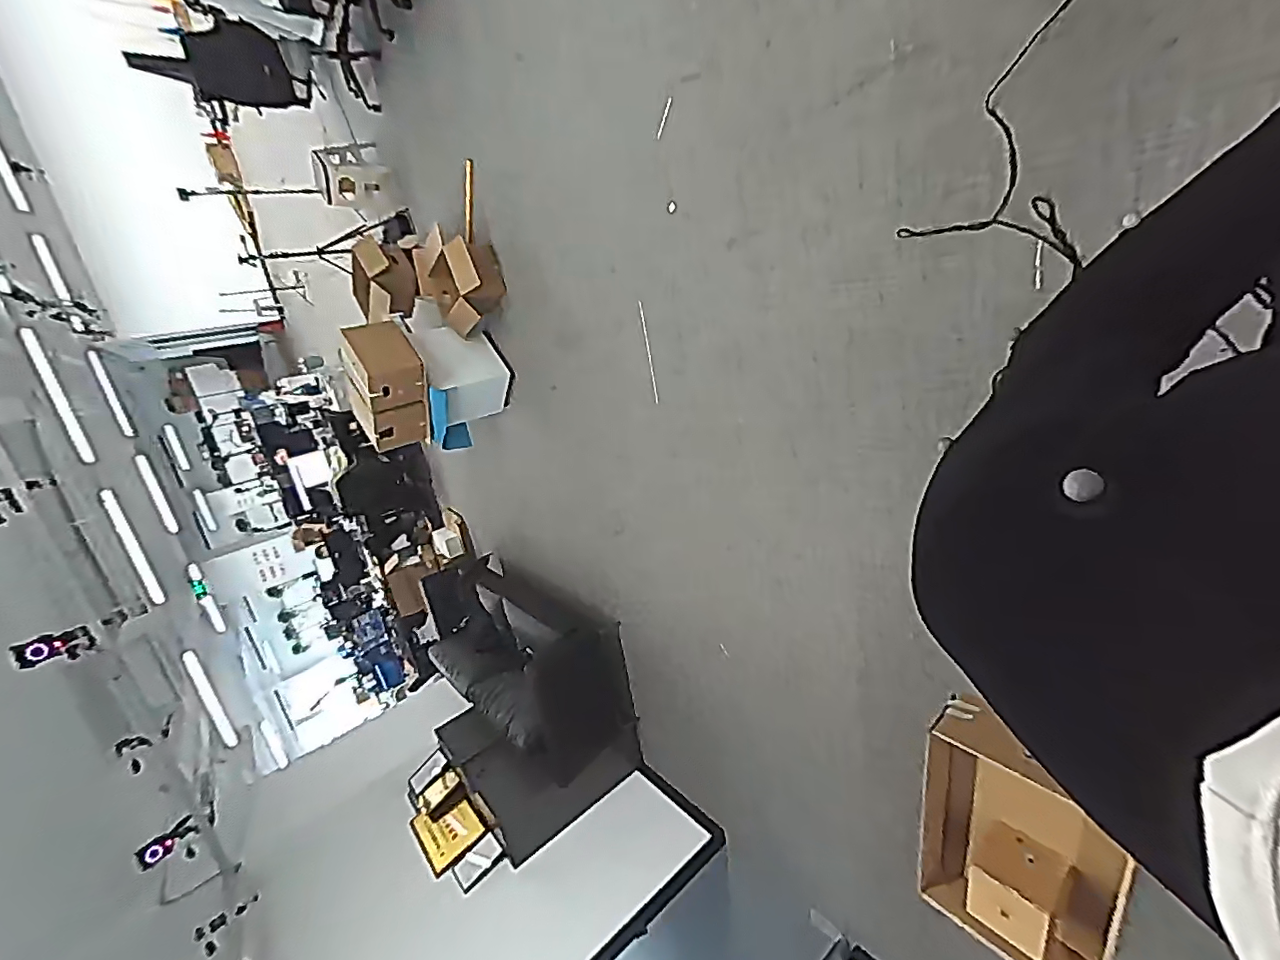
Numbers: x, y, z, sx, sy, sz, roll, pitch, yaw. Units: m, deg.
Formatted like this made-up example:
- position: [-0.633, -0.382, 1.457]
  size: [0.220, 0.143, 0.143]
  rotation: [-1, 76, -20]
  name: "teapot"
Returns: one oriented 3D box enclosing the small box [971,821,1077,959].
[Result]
- position: [0.945, 1.001, 1.331]
  size: [0.168, 0.176, 0.179]
  rotation: [16, 120, 51]
  name: "small box"
